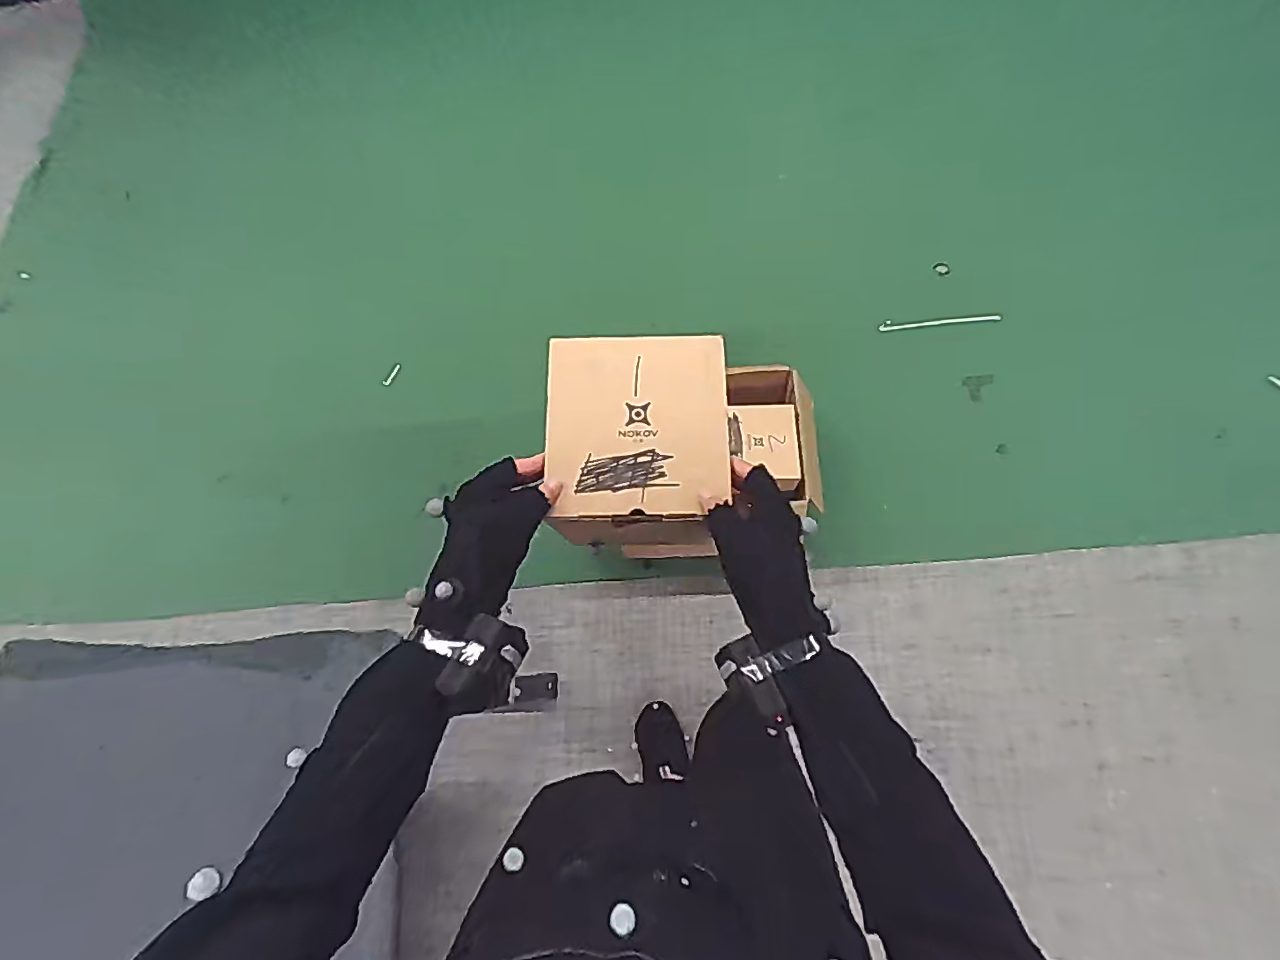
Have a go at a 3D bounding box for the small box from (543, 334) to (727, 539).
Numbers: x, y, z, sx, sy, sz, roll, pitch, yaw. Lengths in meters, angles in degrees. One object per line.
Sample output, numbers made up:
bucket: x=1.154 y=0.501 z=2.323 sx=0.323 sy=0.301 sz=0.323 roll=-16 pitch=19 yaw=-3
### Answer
small box: x=-0.001 y=-0.033 z=0.568 sx=0.168 sy=0.176 sz=0.179 roll=-1 pitch=74 yaw=2
